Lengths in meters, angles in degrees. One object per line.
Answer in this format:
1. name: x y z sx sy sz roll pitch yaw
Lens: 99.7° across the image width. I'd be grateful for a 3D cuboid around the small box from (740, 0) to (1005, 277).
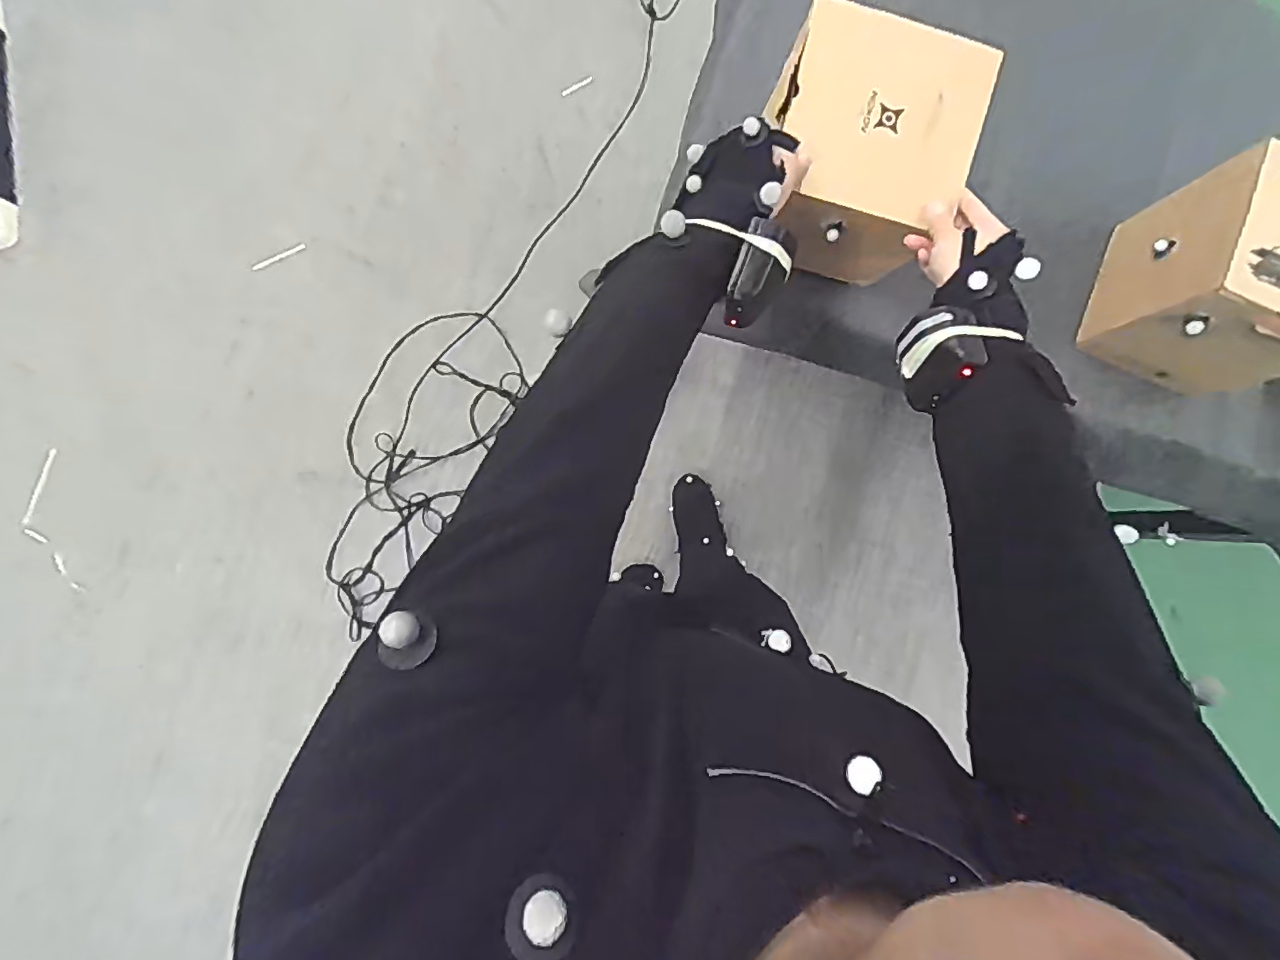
1. small box: 0.214 -0.324 0.551 0.179 0.176 0.168 13 95 -3
